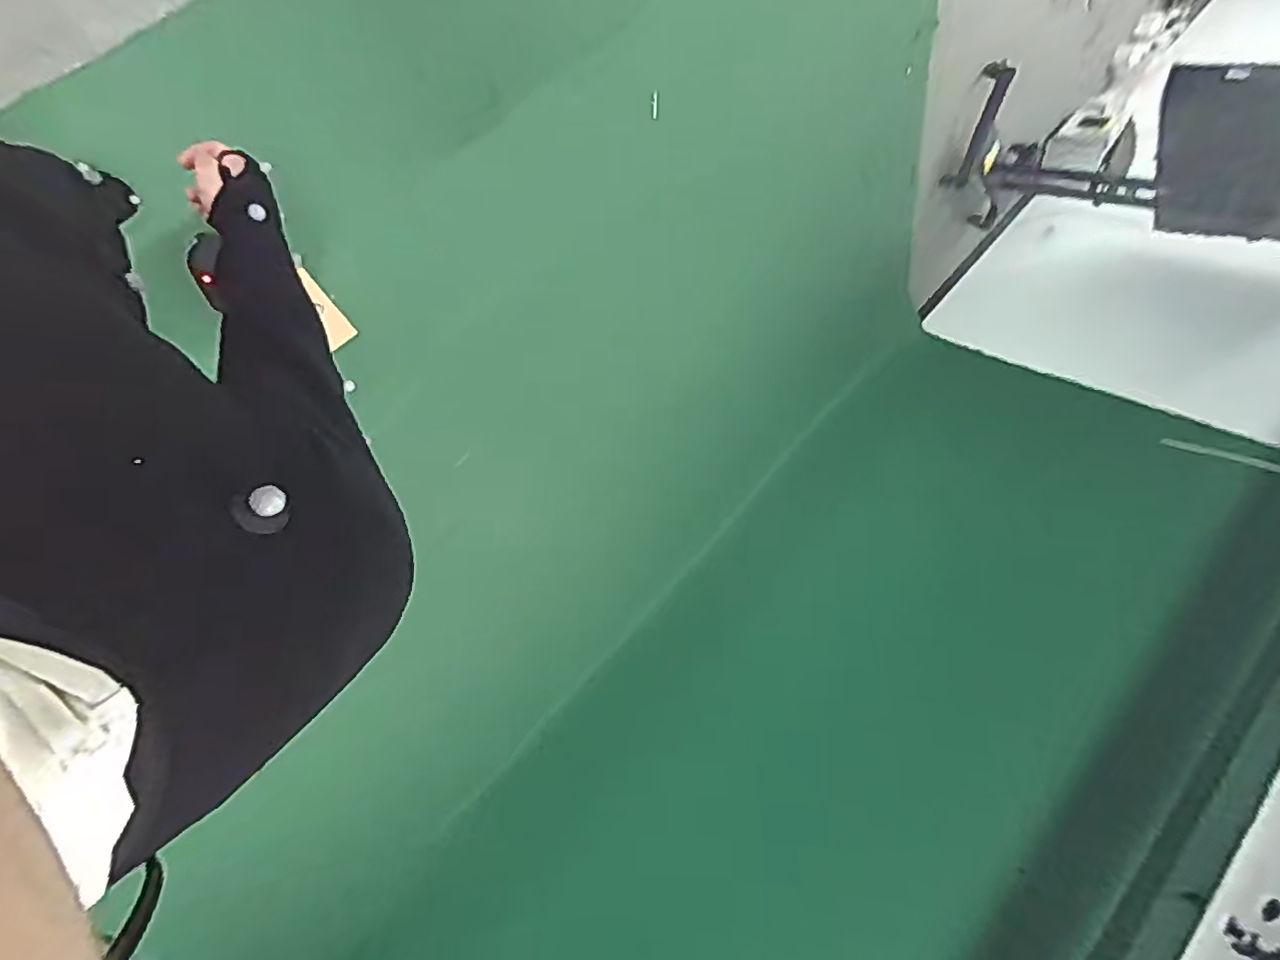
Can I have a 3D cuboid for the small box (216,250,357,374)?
[{"bbox_3d":[-0.766,-0.368,1.174,0.168,0.176,0.179,-44,143,-16],"label":"small box"}]
